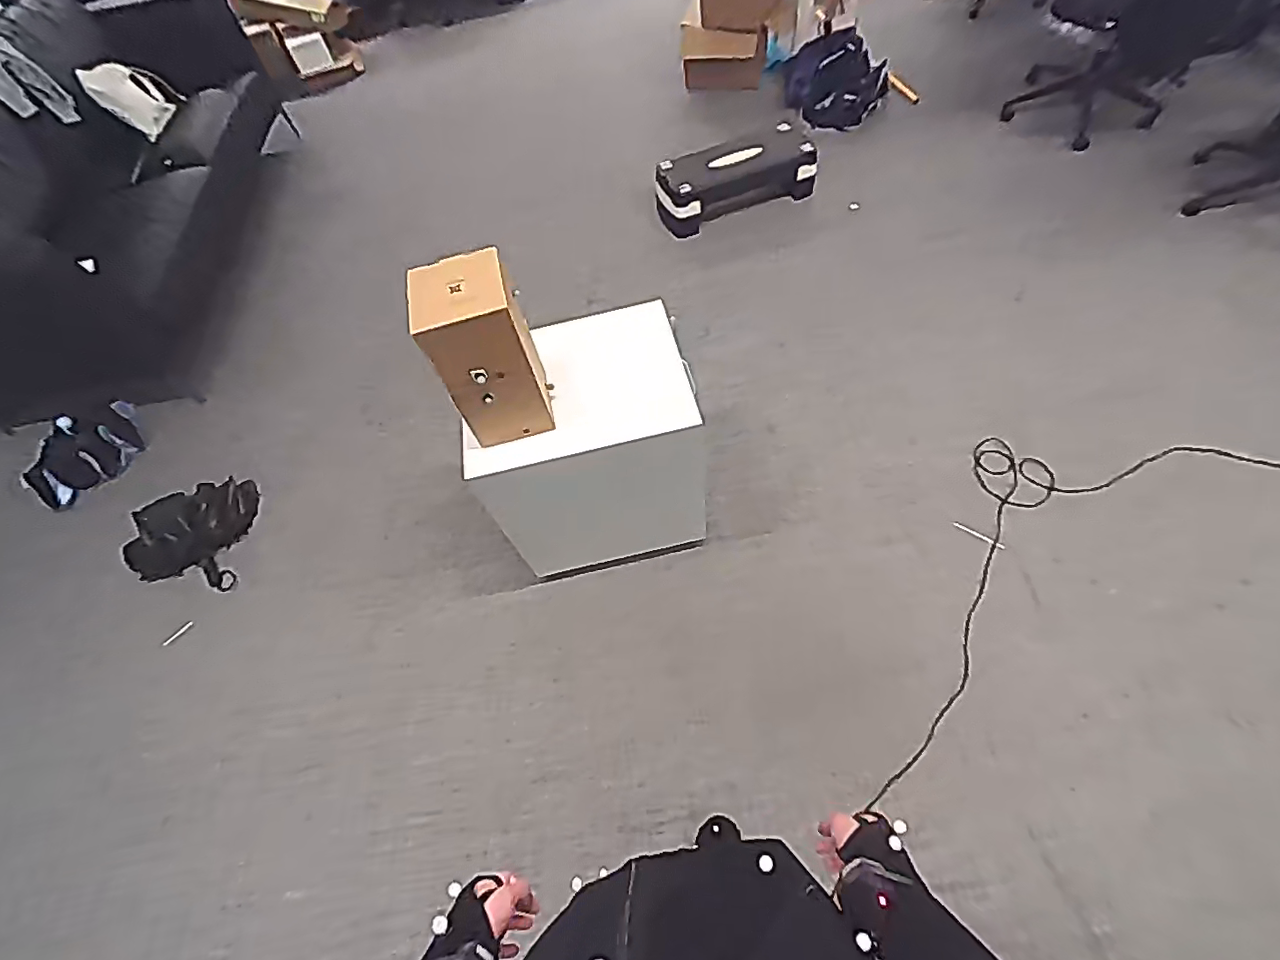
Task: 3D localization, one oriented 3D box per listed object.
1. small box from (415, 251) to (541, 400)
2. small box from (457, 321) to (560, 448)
[{"bbox_3d":[-0.295,-0.280,0.994,0.168,0.176,0.179,-18,58,-1],"label":"small box"},{"bbox_3d":[-0.274,-0.196,1.132,0.168,0.176,0.179,-15,57,-1],"label":"small box"}]
